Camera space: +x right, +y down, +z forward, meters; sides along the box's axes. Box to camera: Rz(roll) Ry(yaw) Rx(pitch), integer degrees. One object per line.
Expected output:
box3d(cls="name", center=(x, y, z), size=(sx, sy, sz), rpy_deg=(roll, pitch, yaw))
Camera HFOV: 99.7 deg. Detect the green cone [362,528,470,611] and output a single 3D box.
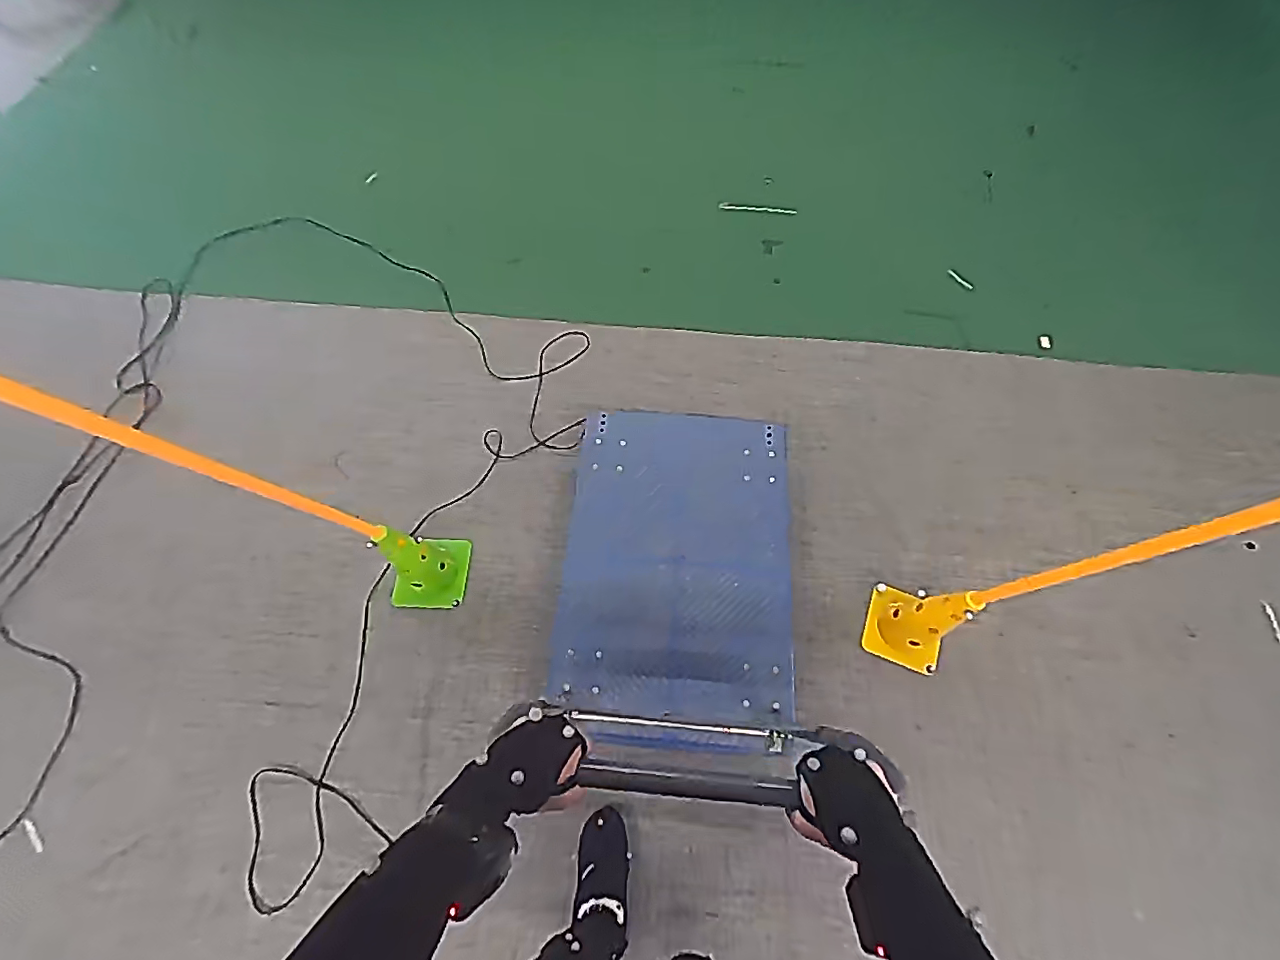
box3d(cls="green cone", center=(-0.599, 0.198, 1.384), size=(0.202, 0.368, 0.200), rpy_deg=(1, 65, 2))
